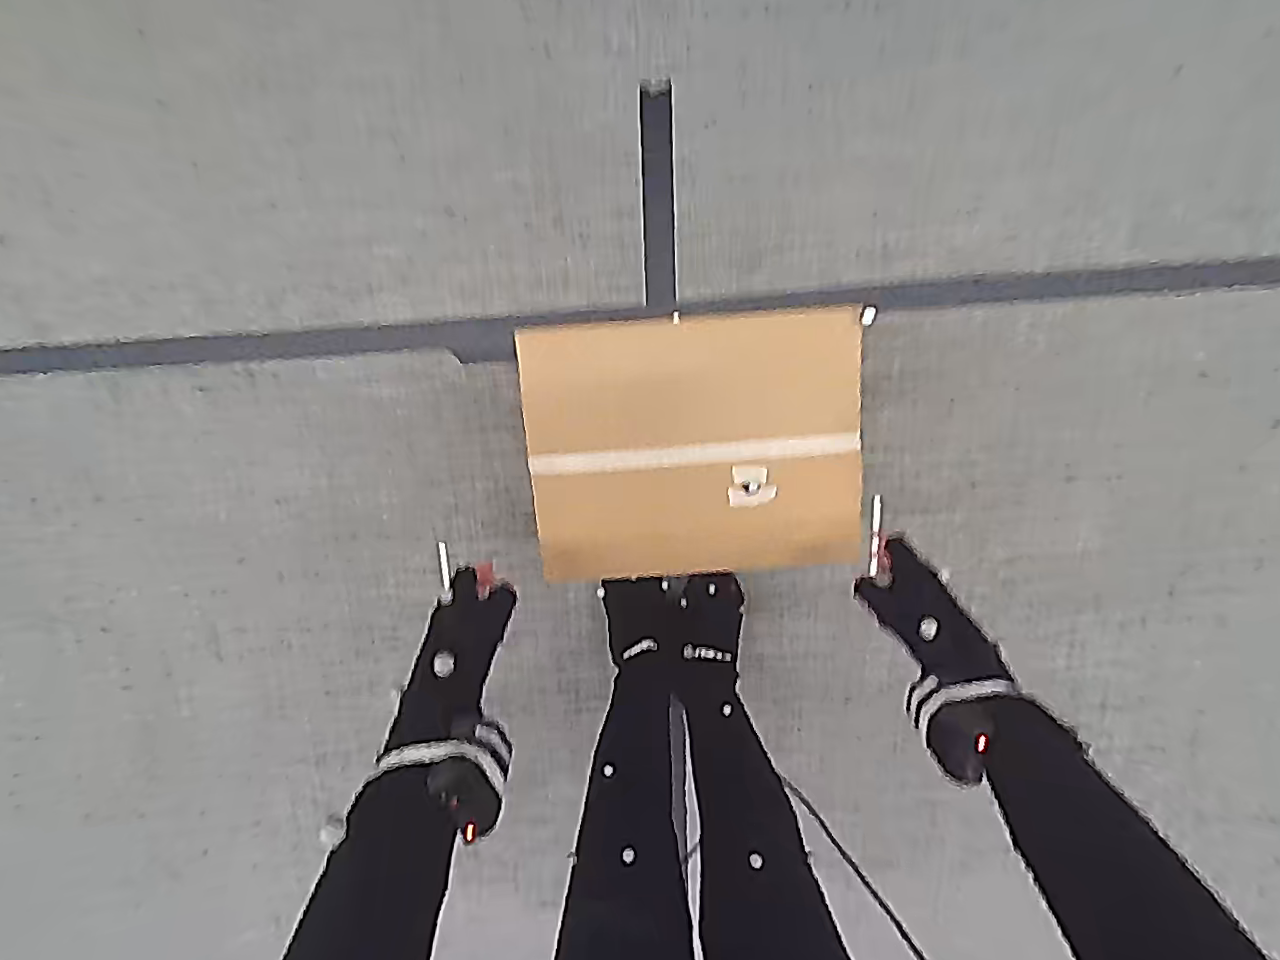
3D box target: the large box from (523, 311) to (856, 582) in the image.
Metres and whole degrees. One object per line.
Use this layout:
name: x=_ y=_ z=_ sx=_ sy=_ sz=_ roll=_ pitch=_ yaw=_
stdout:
large box: x=0.066 y=-0.063 z=0.818 sx=0.408 sy=0.320 sz=0.320 roll=-5 pitch=102 yaw=0
